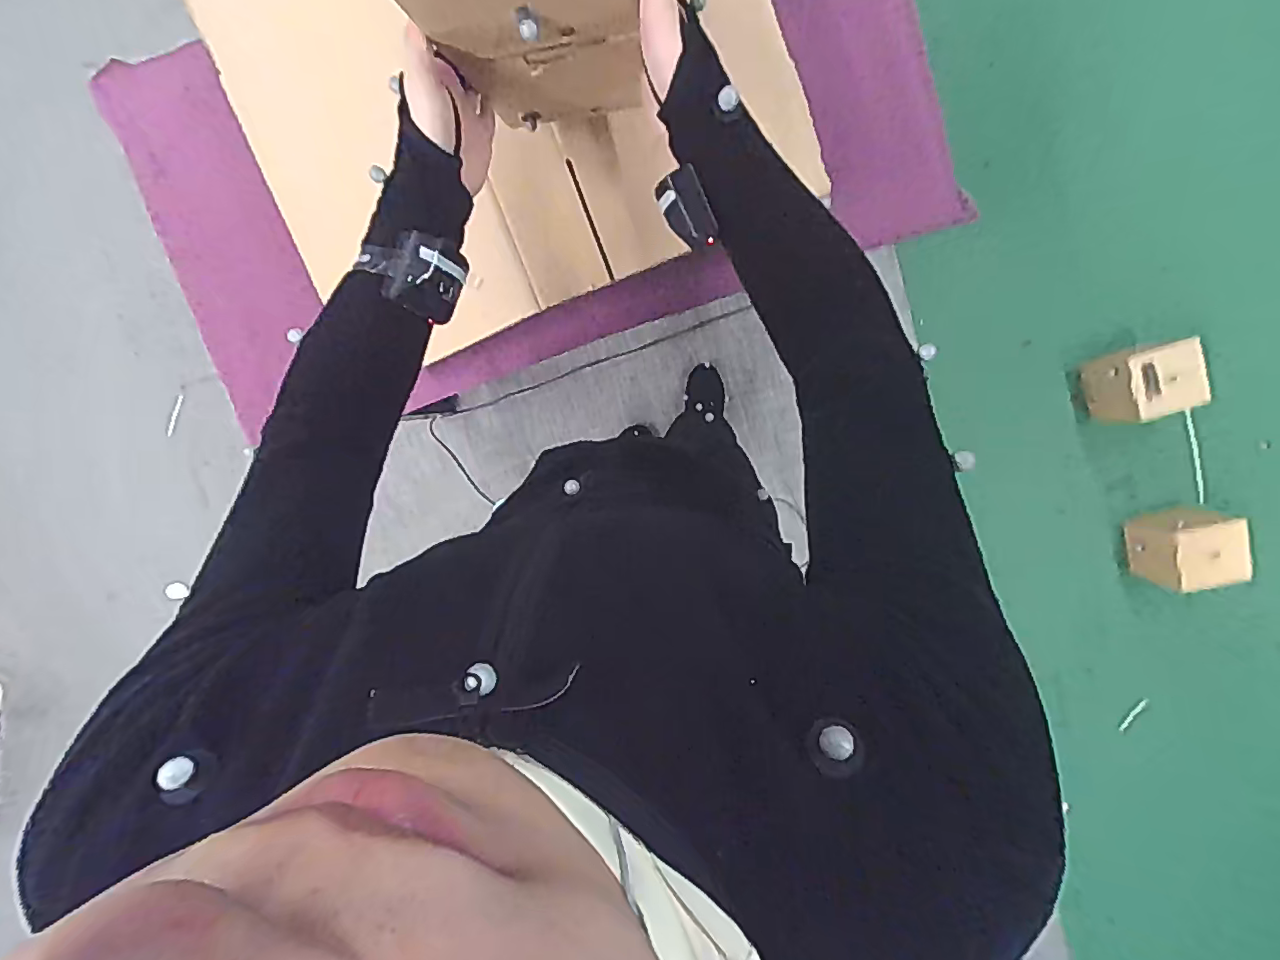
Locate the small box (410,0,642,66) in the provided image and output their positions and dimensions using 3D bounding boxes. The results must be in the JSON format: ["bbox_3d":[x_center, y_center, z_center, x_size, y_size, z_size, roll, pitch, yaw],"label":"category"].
[{"bbox_3d":[-0.091,-0.410,0.344,0.168,0.176,0.179,-6,108,5],"label":"small box"}]

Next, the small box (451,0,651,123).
[{"bbox_3d":[-0.081,-0.457,0.501,0.168,0.176,0.179,-6,106,5],"label":"small box"}]

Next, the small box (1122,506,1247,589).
[{"bbox_3d":[1.498,0.181,1.495,0.179,0.176,0.168,-14,98,6],"label":"small box"}]
